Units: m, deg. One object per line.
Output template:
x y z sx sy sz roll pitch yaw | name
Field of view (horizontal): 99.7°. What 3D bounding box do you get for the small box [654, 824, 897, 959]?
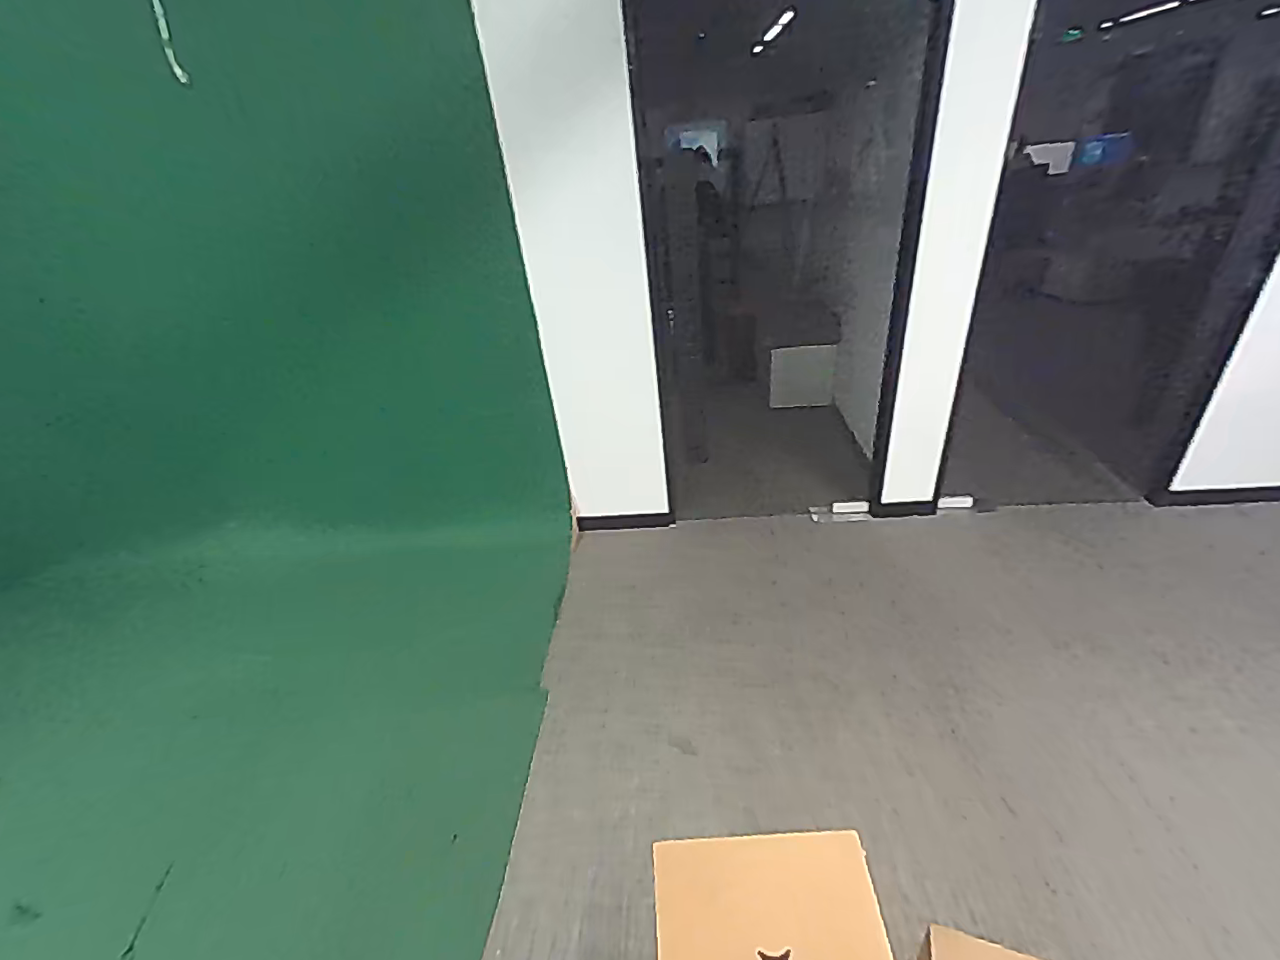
0.096 0.393 0.415 0.168 0.176 0.179 -4 42 0 | small box
